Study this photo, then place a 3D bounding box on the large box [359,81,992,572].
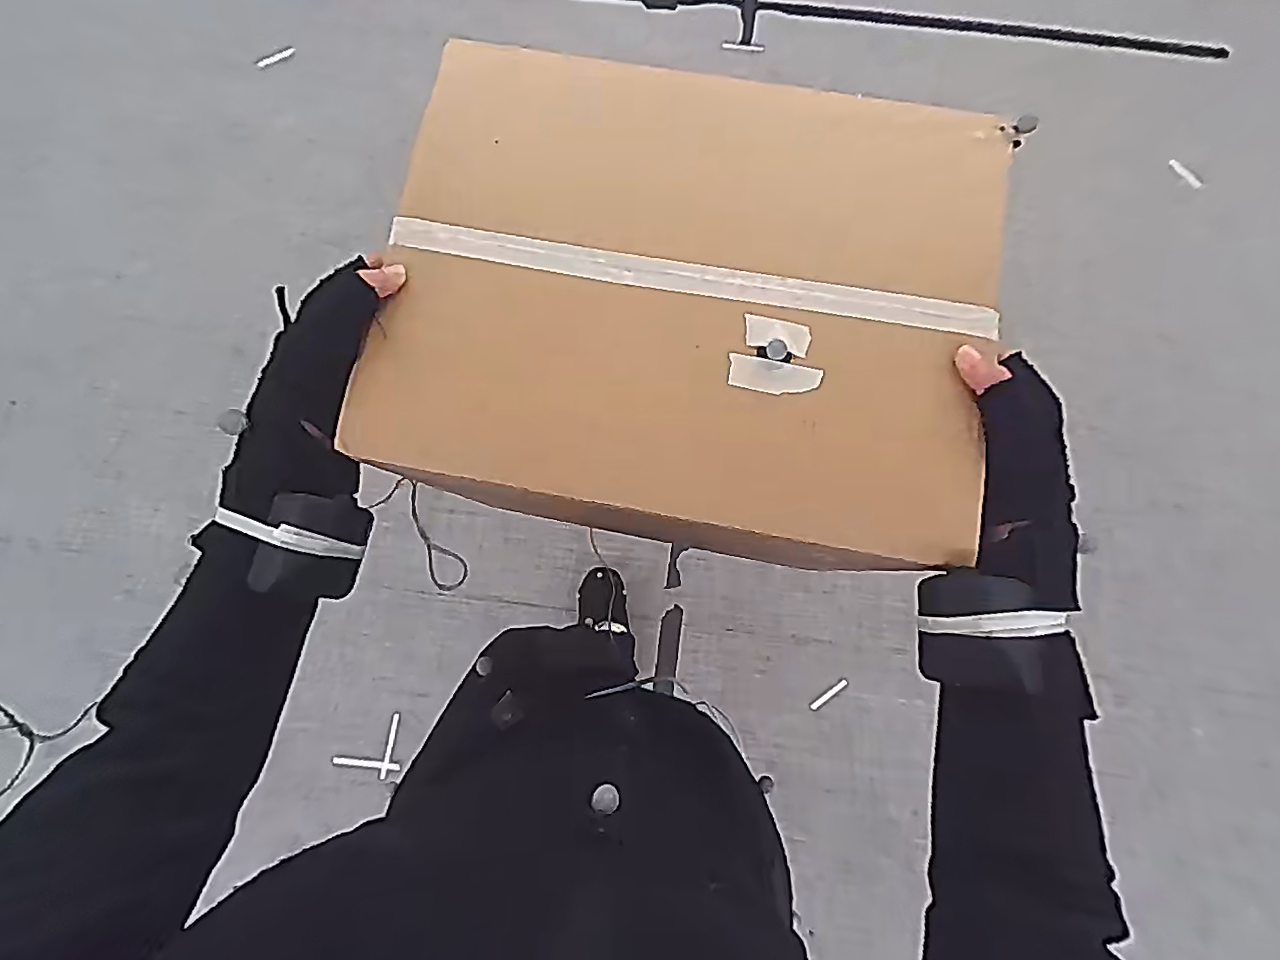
[{"bbox_3d":[0.033,-0.097,0.519,0.408,0.320,0.320,10,82,3],"label":"large box"}]
